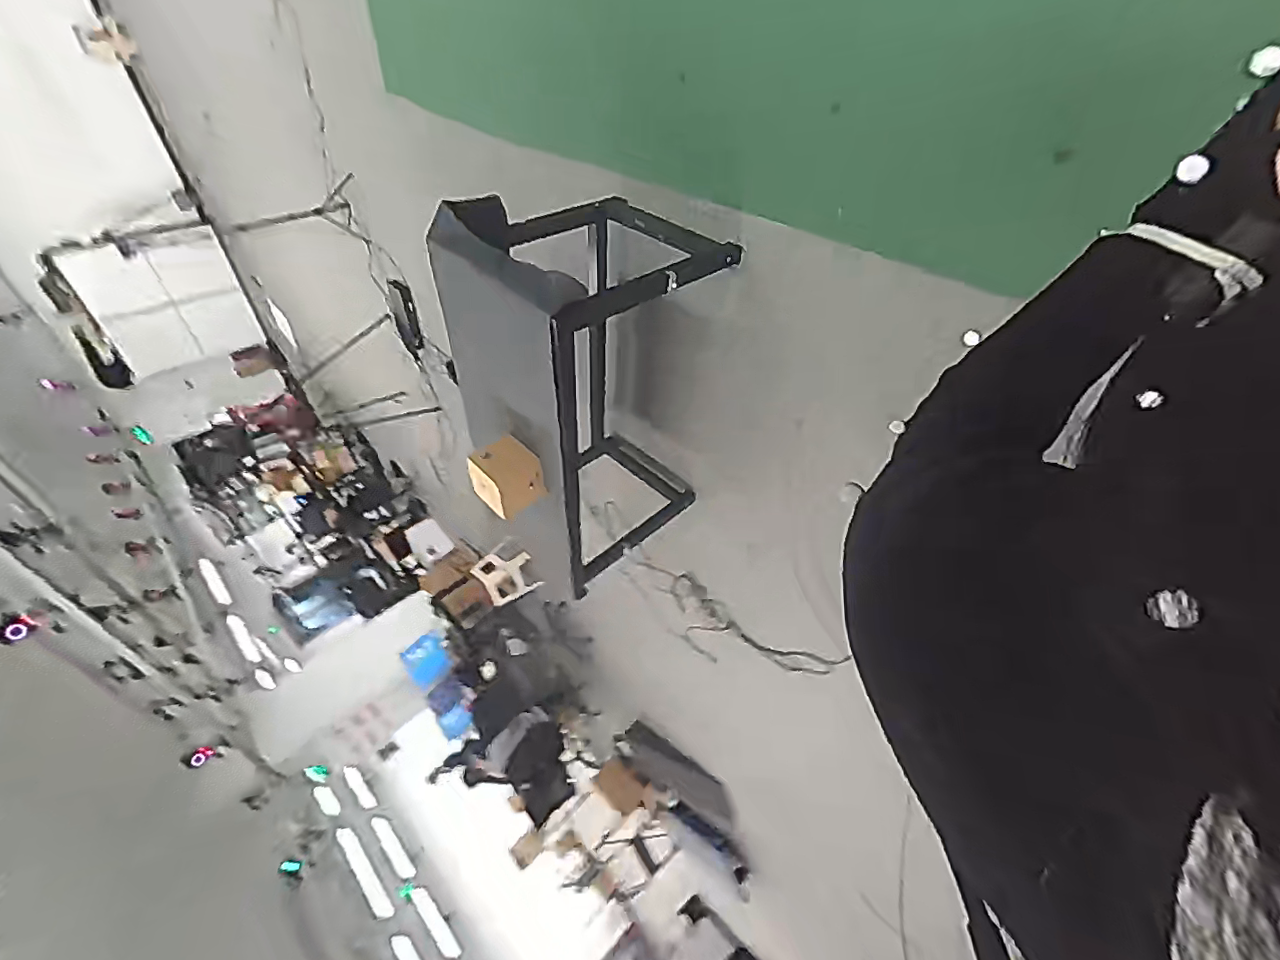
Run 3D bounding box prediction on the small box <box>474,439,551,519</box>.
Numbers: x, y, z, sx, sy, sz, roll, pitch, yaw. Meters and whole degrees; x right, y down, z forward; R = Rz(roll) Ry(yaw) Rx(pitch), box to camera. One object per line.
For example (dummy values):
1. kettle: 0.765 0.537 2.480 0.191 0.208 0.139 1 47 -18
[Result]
1. small box: -0.410 -0.013 1.761 0.179 0.176 0.168 36 144 30
